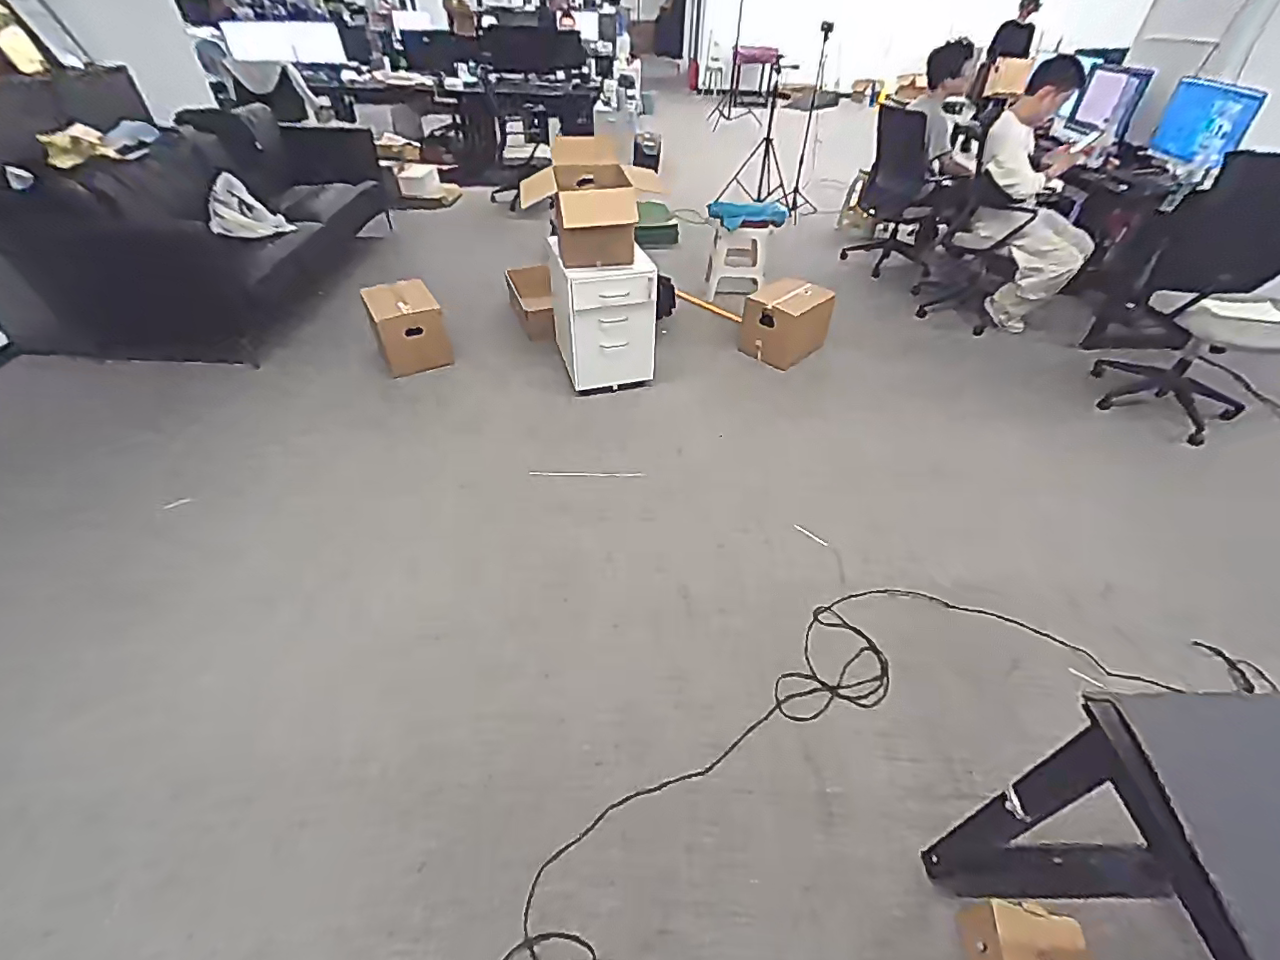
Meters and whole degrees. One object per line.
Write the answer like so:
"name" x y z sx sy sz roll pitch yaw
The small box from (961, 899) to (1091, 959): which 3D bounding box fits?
"small box" 0.758 0.966 1.057 0.168 0.176 0.179 9 42 9
